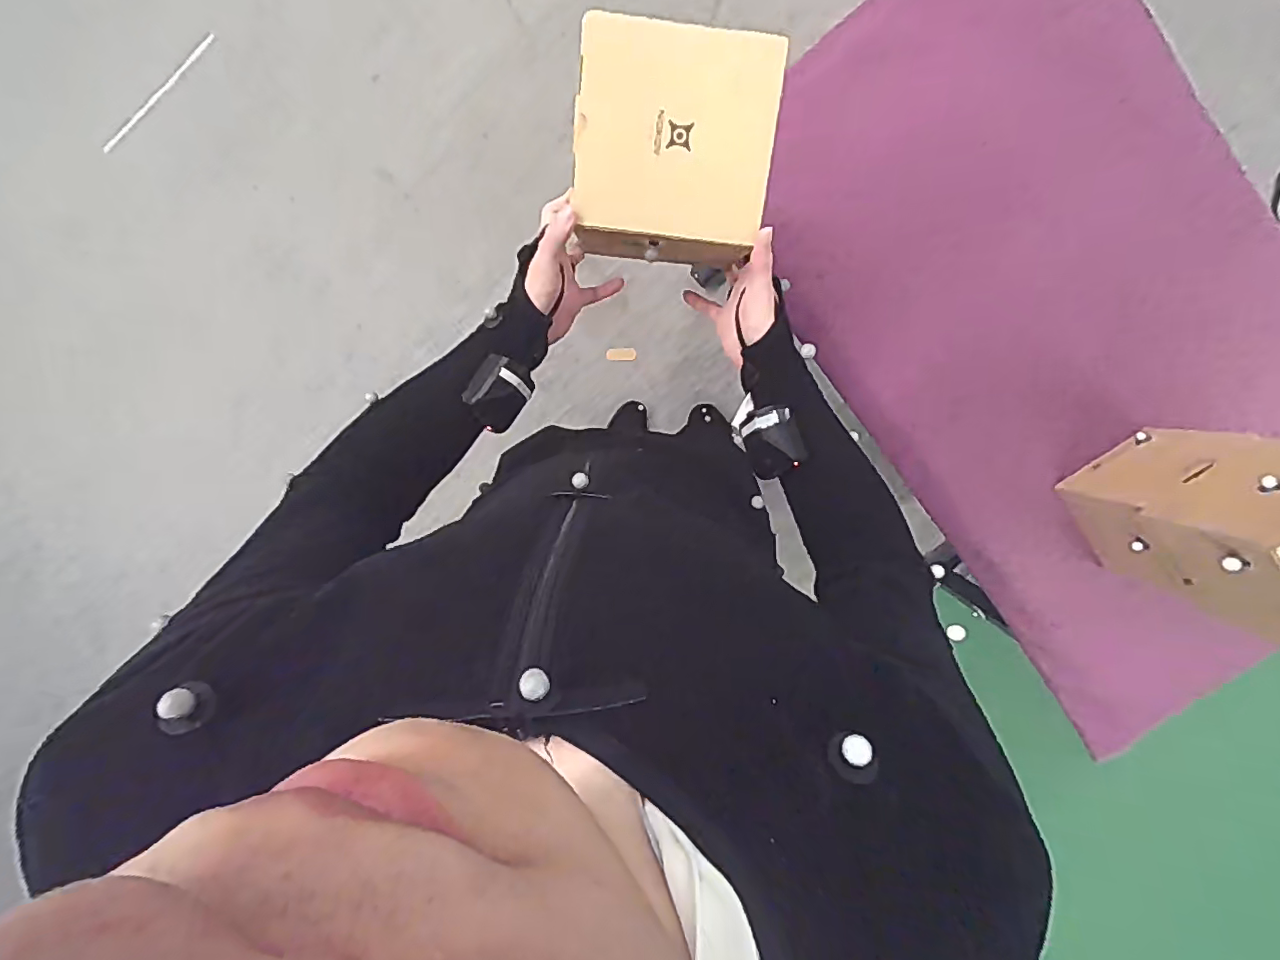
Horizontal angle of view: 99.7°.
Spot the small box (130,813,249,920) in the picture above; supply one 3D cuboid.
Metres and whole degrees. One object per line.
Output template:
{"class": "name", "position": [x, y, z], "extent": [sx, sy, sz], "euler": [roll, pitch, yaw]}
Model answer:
{"class": "small box", "position": [-1.326, 1.132, 1.603], "extent": [0.168, 0.176, 0.179], "euler": [-29, 97, 7]}

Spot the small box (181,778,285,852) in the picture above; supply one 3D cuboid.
{"class": "small box", "position": [-1.322, 1.113, 1.769], "extent": [0.168, 0.176, 0.179], "euler": [-29, 96, 7]}

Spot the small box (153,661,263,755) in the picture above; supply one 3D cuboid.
{"class": "small box", "position": [-1.354, 0.714, 1.710], "extent": [0.168, 0.176, 0.179], "euler": [-36, 96, 7]}

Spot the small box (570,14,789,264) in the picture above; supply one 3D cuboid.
{"class": "small box", "position": [0.031, -0.321, 0.548], "extent": [0.179, 0.176, 0.168], "euler": [6, 105, -1]}

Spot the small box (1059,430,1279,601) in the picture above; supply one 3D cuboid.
{"class": "small box", "position": [0.779, 0.041, 0.794], "extent": [0.168, 0.176, 0.179], "euler": [-36, 96, 7]}
